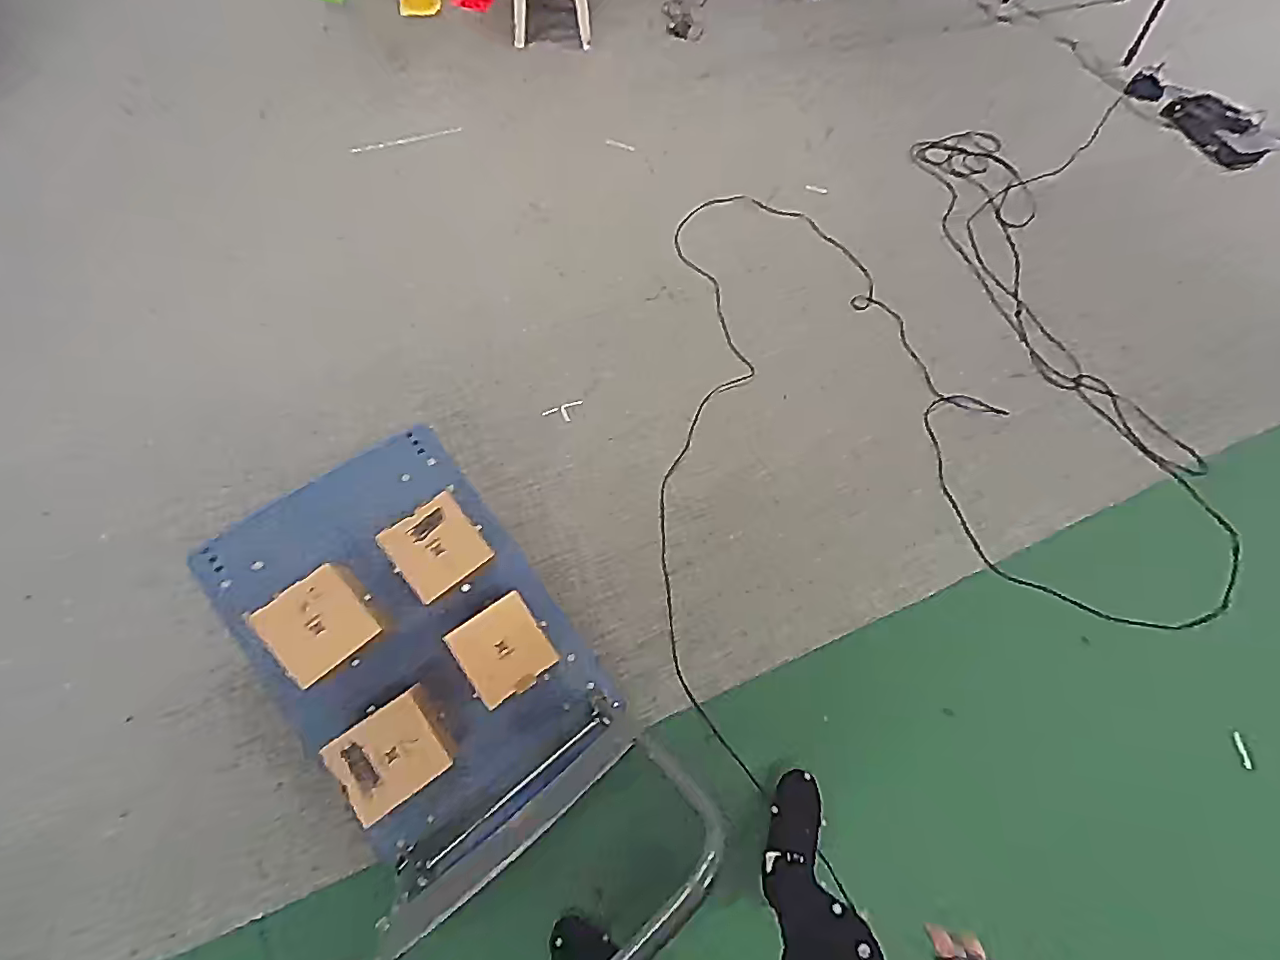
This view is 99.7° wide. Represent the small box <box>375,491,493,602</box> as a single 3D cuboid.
[{"bbox_3d":[-0.440,0.153,1.181,0.168,0.176,0.179,-37,88,-18],"label":"small box"}]

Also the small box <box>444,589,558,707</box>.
[{"bbox_3d":[-0.300,0.357,1.167,0.168,0.176,0.179,-33,87,-19],"label":"small box"}]

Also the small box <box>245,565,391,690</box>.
[{"bbox_3d":[-0.637,0.293,1.098,0.168,0.176,0.179,-39,88,-20],"label":"small box"}]
